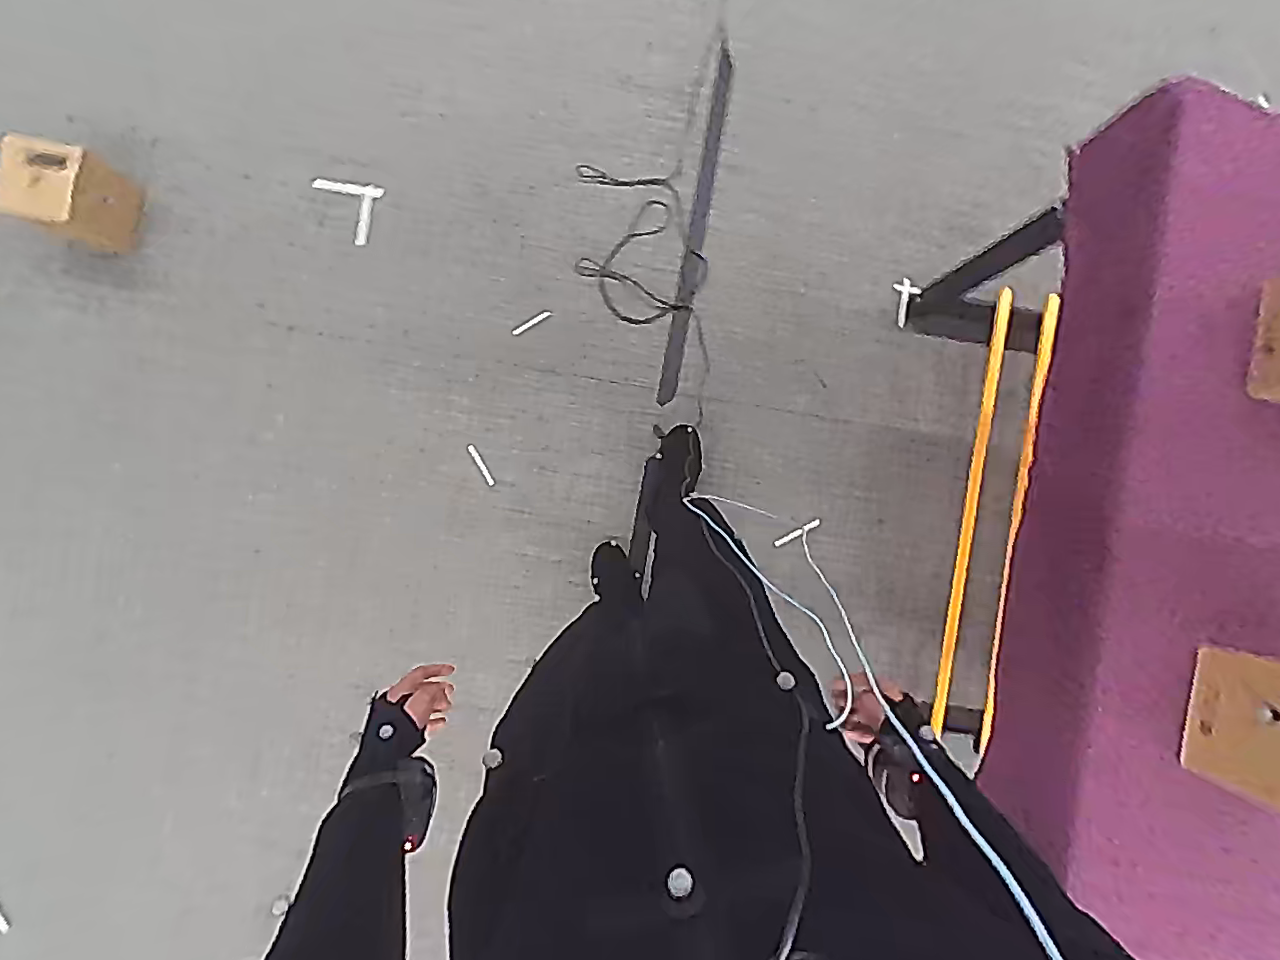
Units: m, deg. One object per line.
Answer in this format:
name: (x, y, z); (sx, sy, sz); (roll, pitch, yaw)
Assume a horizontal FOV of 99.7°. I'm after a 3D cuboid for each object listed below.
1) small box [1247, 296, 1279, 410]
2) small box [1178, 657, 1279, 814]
small box: (0.956, -0.173, 0.692); (0.179, 0.176, 0.168); (13, 88, -3)
small box: (0.840, 0.334, 0.673); (0.179, 0.176, 0.168); (13, 87, -4)
